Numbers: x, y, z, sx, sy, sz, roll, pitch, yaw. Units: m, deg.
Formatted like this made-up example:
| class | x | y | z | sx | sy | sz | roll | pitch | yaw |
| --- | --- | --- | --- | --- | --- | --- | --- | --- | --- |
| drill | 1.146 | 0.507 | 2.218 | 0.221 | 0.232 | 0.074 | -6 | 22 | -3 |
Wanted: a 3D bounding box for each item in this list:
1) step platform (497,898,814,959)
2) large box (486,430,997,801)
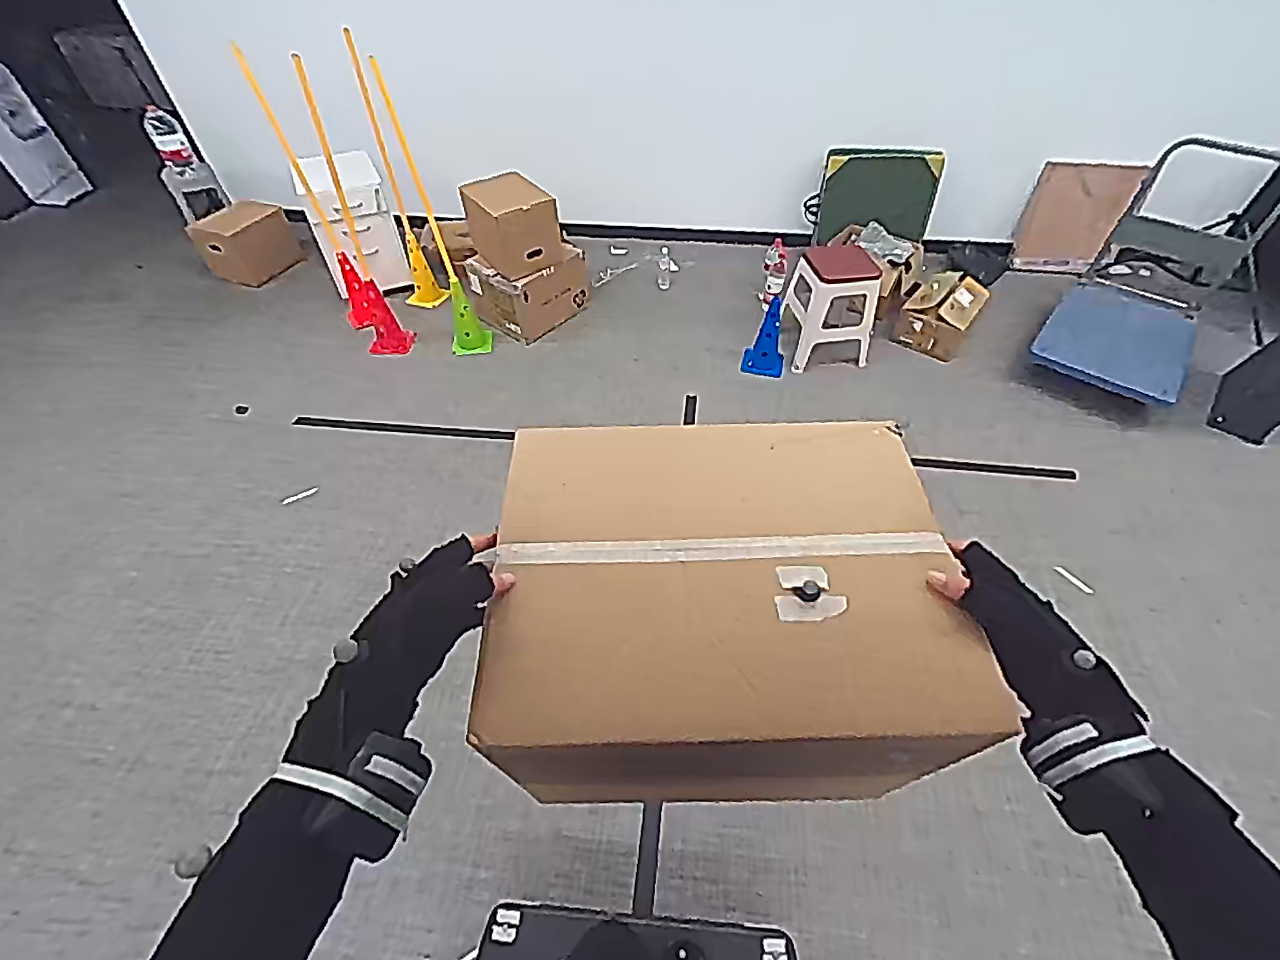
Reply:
| class | x | y | z | sx | sy | sz | roll | pitch | yaw |
| --- | --- | --- | --- | --- | --- | --- | --- | --- | --- |
| step platform | 0.029 | 1.087 | 1.138 | 0.684 | 0.204 | 0.286 | 4 | 49 | 2 |
| large box | 0.074 | 0.162 | 0.619 | 0.408 | 0.320 | 0.320 | -1 | 53 | 0 |
